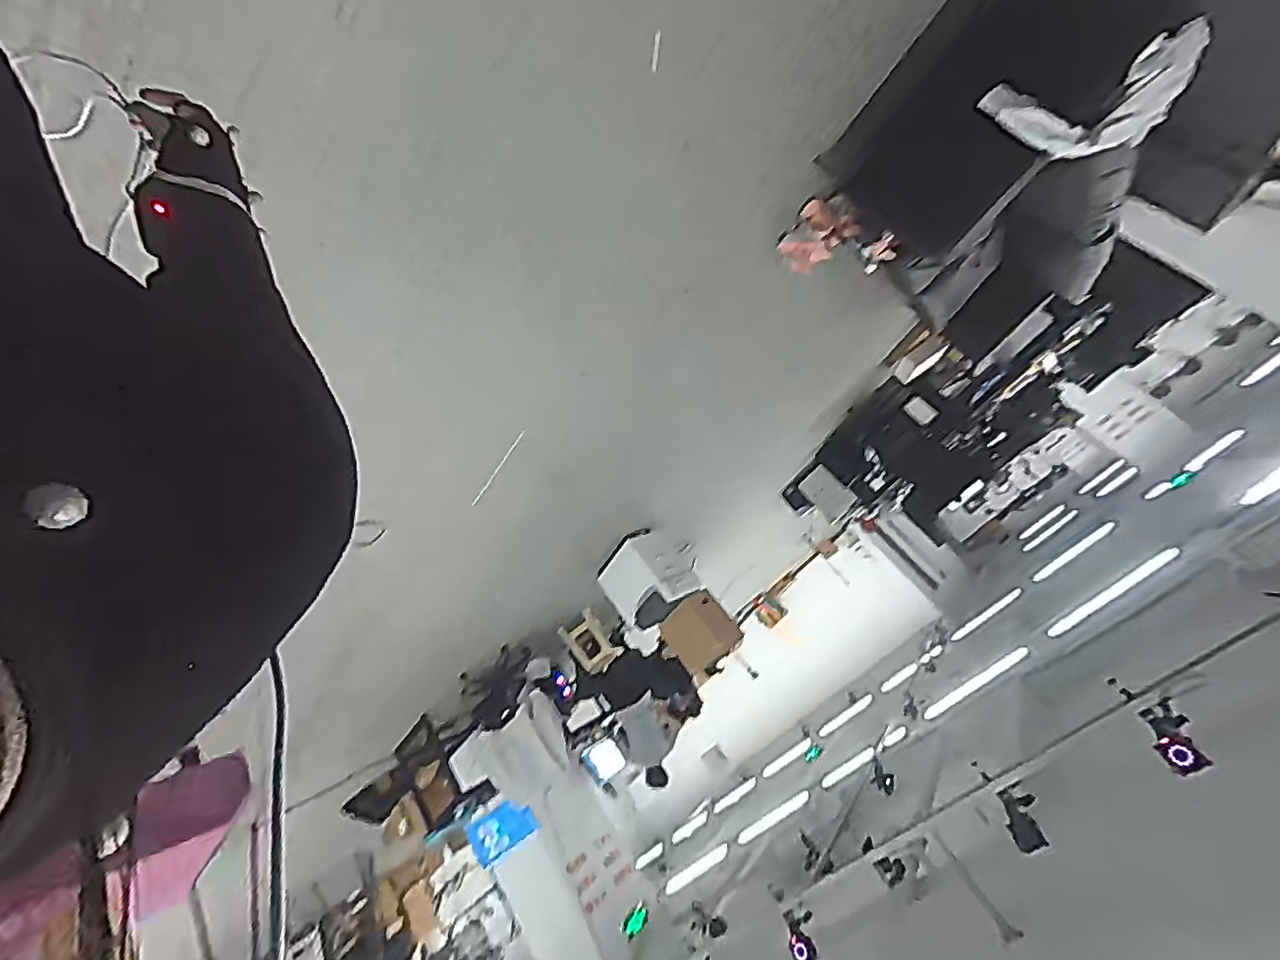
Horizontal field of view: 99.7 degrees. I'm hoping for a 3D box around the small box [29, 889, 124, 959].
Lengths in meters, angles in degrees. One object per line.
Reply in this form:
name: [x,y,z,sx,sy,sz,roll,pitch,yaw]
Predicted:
small box: [-1.569,1.289,1.502,0.168,0.176,0.179,-5,140,-51]
